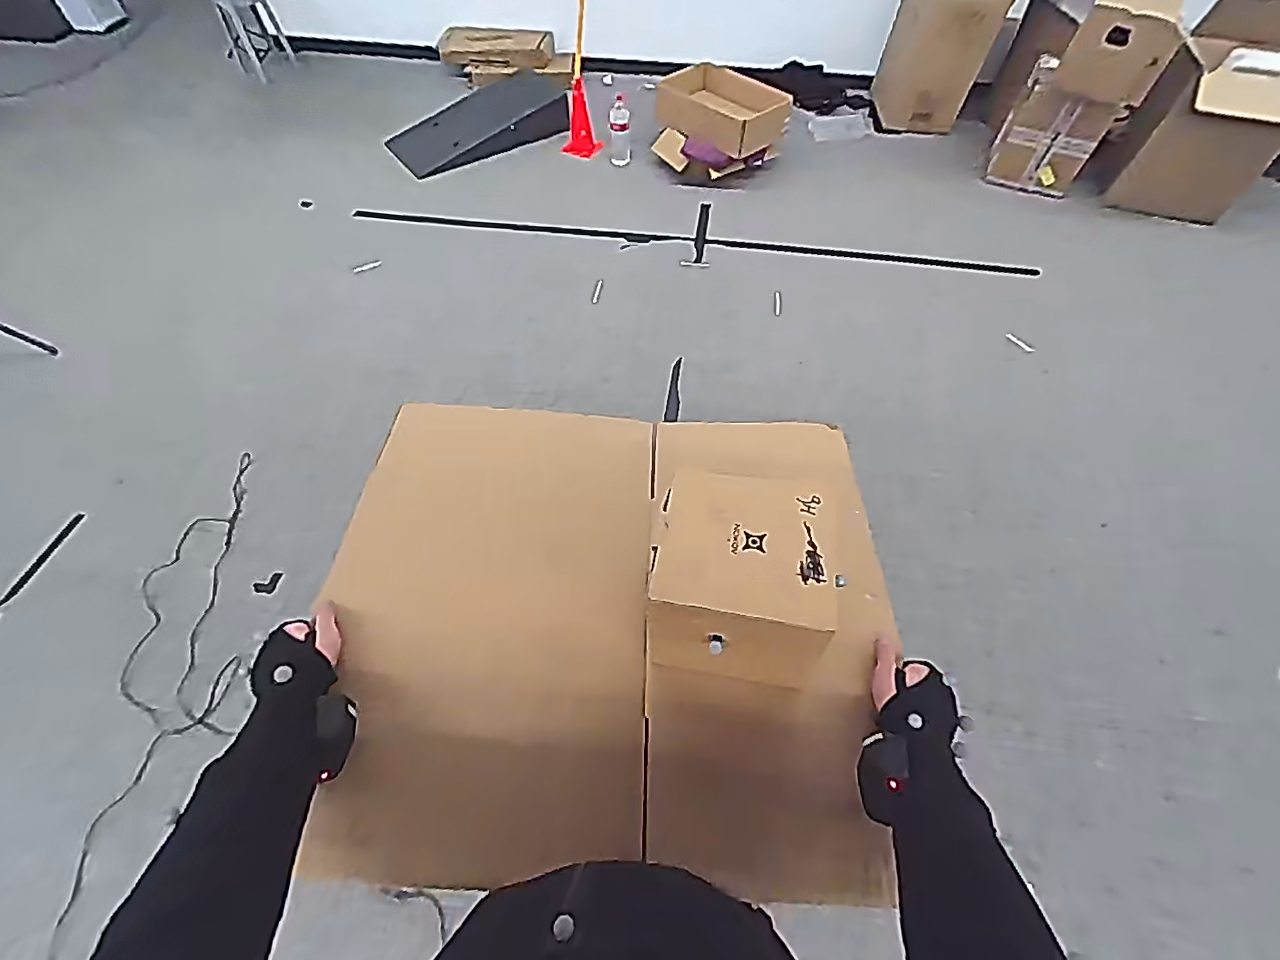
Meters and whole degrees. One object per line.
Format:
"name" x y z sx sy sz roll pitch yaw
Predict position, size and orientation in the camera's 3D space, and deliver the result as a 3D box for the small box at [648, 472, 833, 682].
"small box" 0.113 0.113 0.615 0.179 0.176 0.168 7 53 10
